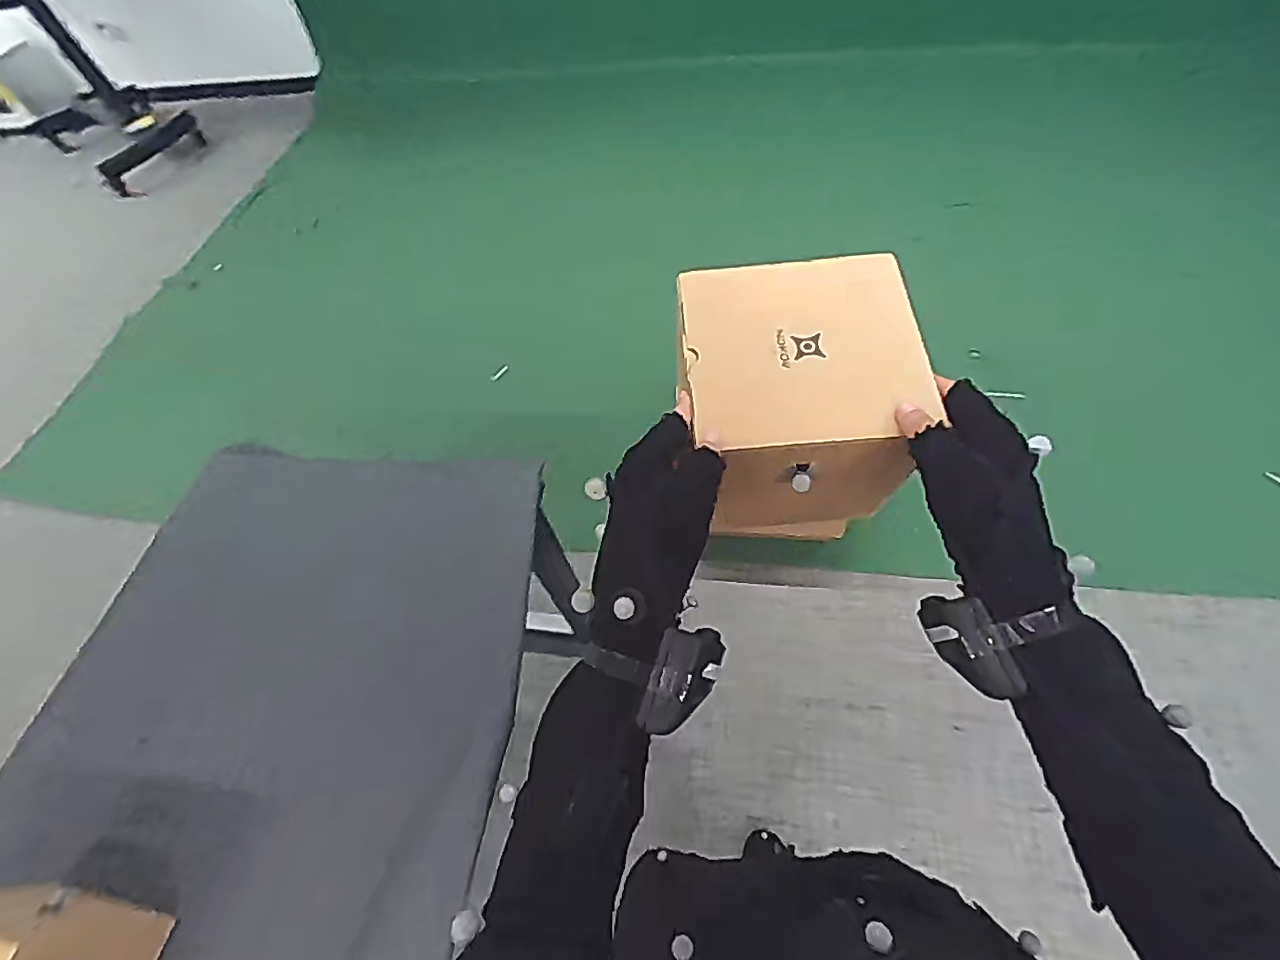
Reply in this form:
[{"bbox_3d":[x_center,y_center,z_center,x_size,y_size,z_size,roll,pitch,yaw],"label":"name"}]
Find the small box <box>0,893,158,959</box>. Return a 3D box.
[{"bbox_3d":[-0.606,0.503,0.491,0.168,0.176,0.179,6,58,11],"label":"small box"}]
